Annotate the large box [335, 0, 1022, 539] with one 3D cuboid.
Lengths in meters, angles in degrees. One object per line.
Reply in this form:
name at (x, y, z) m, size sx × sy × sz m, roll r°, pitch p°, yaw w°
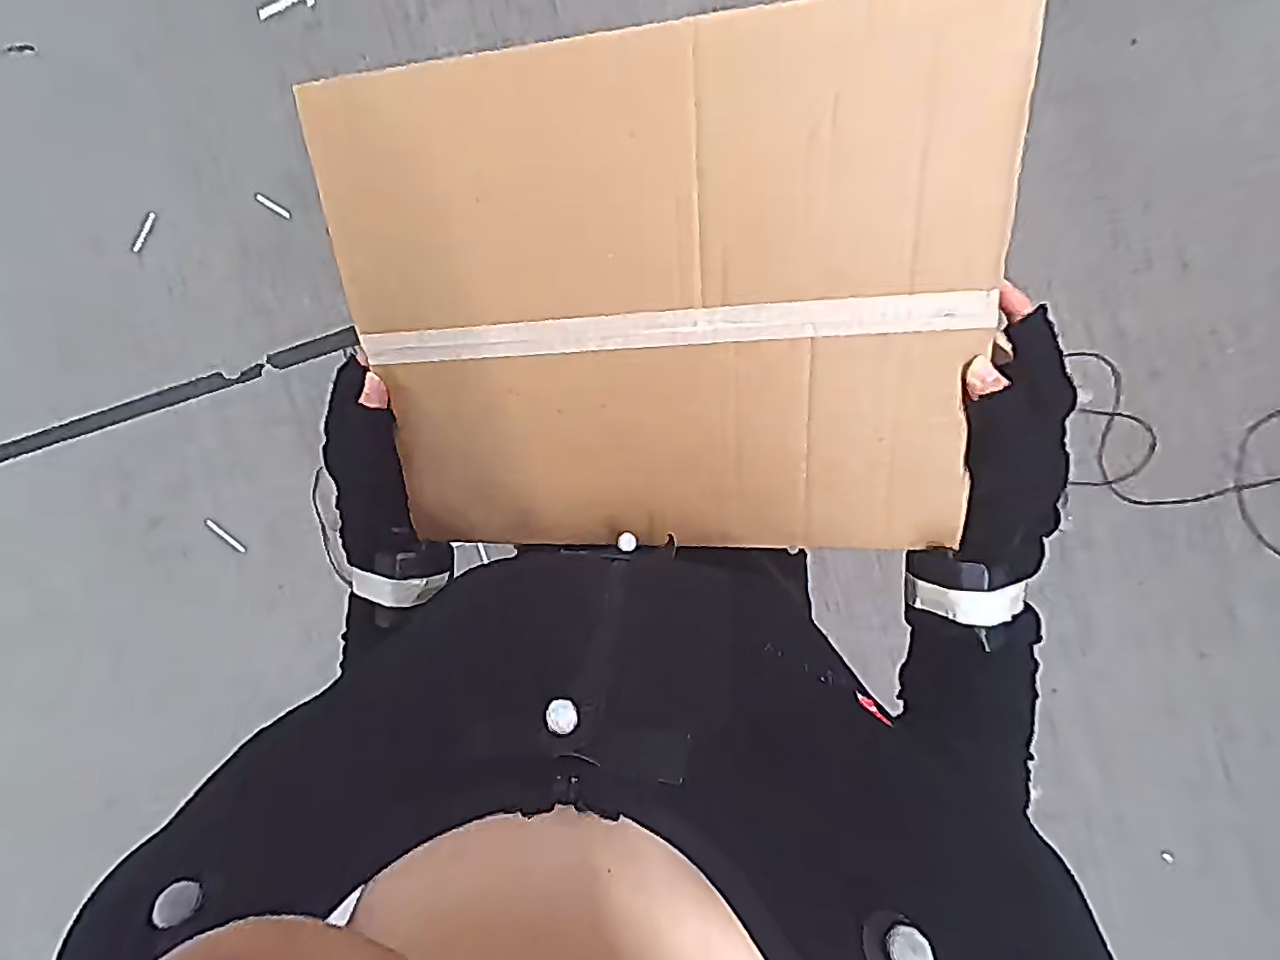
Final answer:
large box at (0.034, -0.153, 0.496) m, size 0.408 × 0.320 × 0.320 m, roll -1°, pitch 113°, yaw 11°
